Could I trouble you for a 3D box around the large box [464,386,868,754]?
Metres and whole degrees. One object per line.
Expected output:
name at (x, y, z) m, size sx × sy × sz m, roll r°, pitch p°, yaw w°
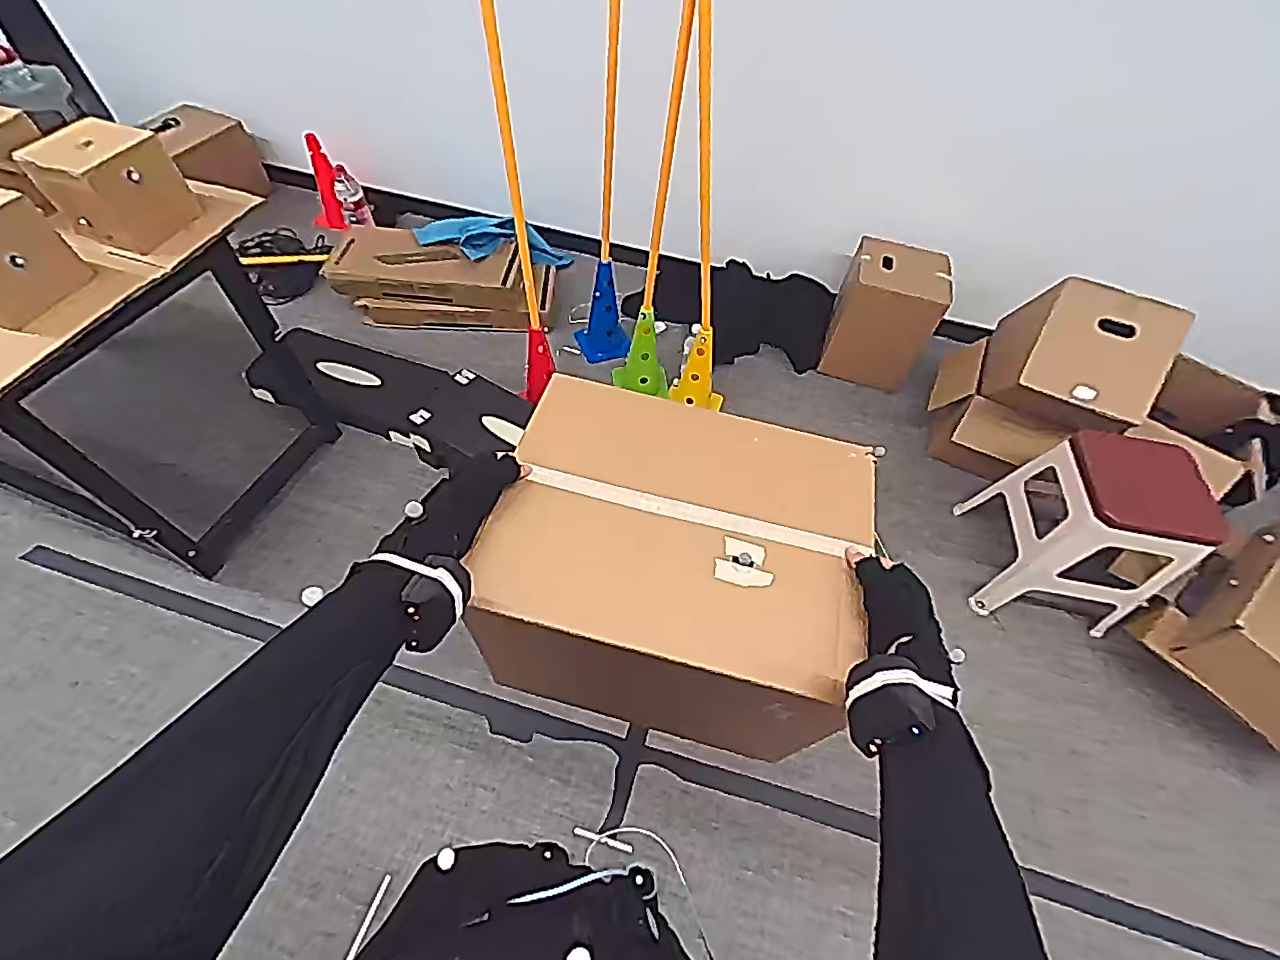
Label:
large box at (0.038, 0.128, 0.716) m, size 0.408 × 0.320 × 0.320 m, roll 15°, pitch 56°, yaw 4°
